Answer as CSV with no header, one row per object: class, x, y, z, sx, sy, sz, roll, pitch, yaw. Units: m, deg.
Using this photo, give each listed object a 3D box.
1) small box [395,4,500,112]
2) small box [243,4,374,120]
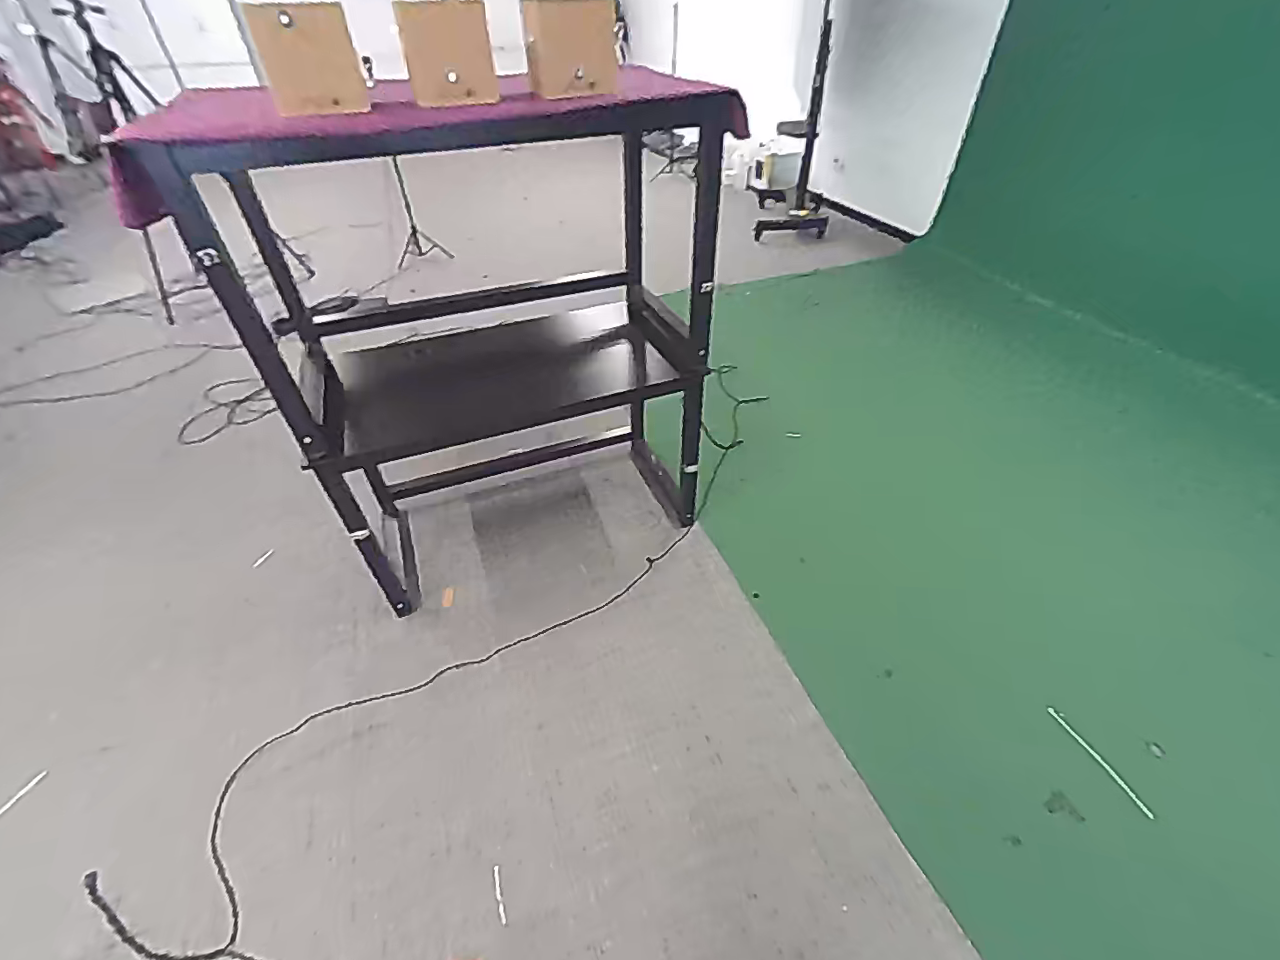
small box,-0.400,-0.878,1.128,0.168,0.176,0.179,-15,43,-15
small box,-0.634,-0.813,1.056,0.168,0.176,0.179,-16,42,-16
